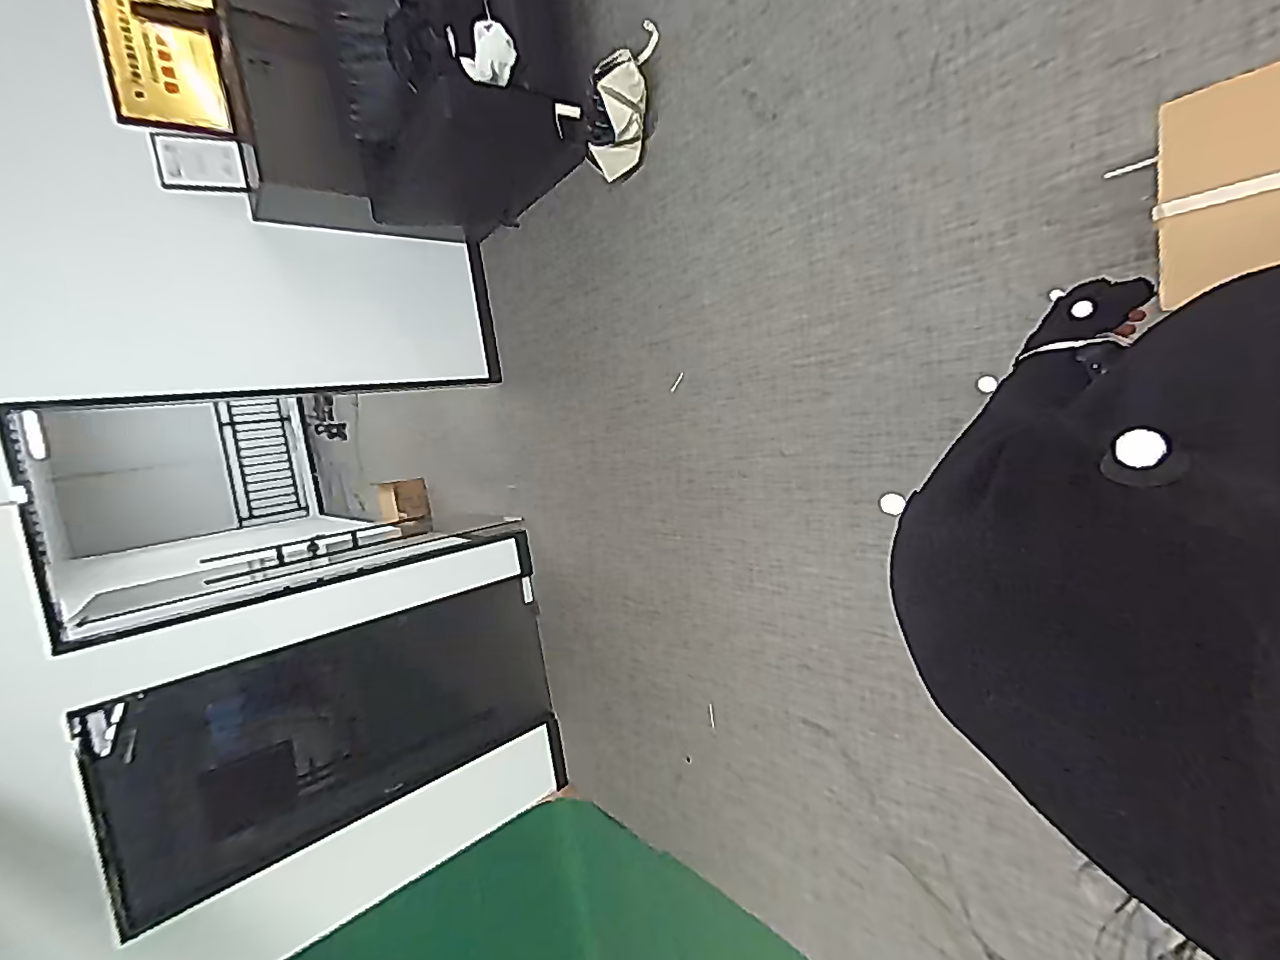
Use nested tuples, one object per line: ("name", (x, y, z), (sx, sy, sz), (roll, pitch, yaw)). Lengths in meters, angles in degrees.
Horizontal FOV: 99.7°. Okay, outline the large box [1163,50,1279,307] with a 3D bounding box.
("large box", (1.058, -0.458, 0.783), (0.408, 0.320, 0.320), (1, 101, 51))
